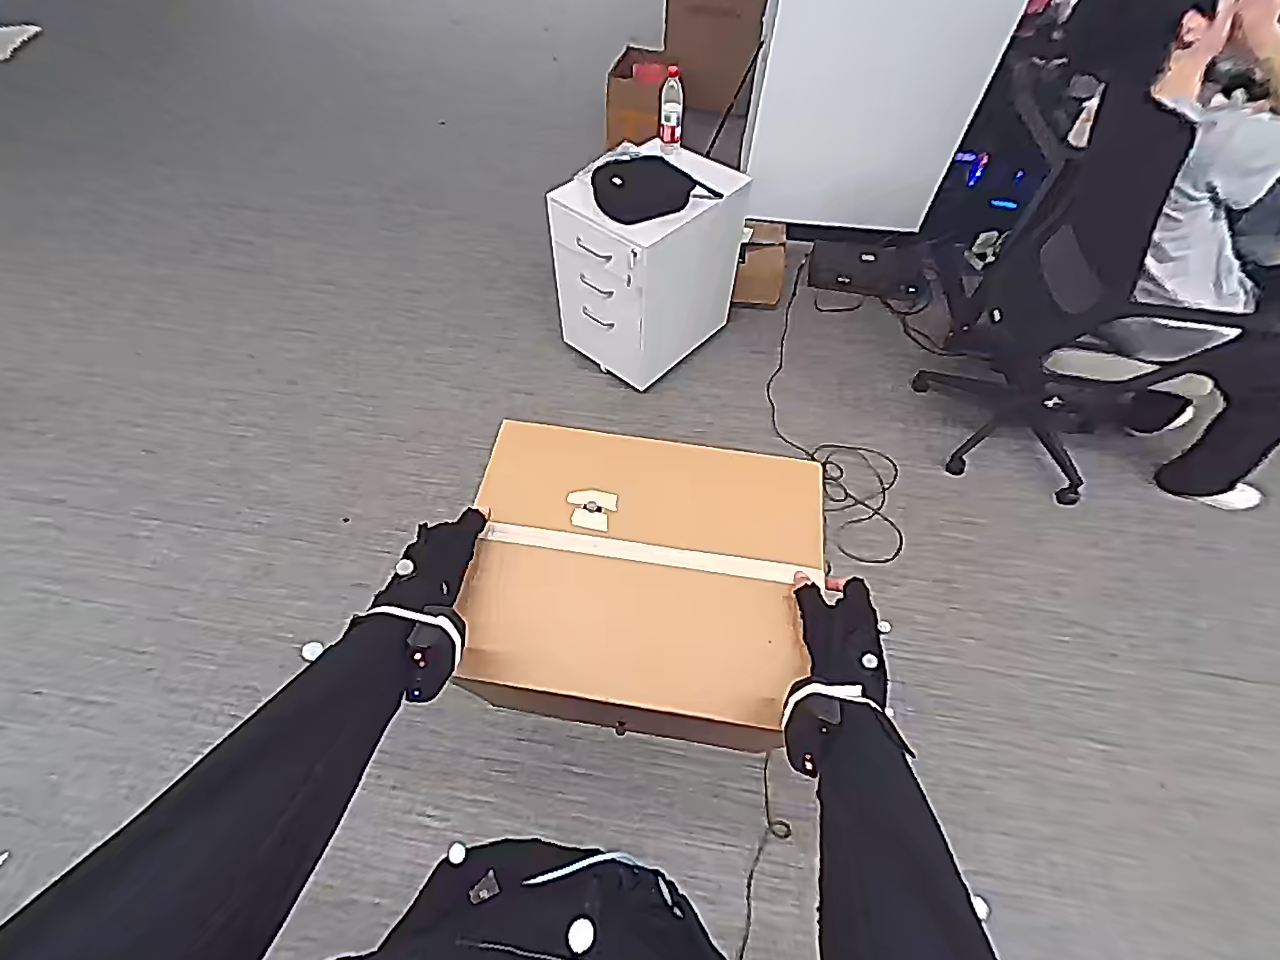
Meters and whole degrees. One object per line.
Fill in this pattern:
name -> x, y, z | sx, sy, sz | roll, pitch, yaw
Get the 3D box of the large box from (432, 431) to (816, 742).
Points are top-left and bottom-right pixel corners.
large box -> 0.000, 0.163, 0.748 | 0.408, 0.320, 0.320 | 8, 60, 4
